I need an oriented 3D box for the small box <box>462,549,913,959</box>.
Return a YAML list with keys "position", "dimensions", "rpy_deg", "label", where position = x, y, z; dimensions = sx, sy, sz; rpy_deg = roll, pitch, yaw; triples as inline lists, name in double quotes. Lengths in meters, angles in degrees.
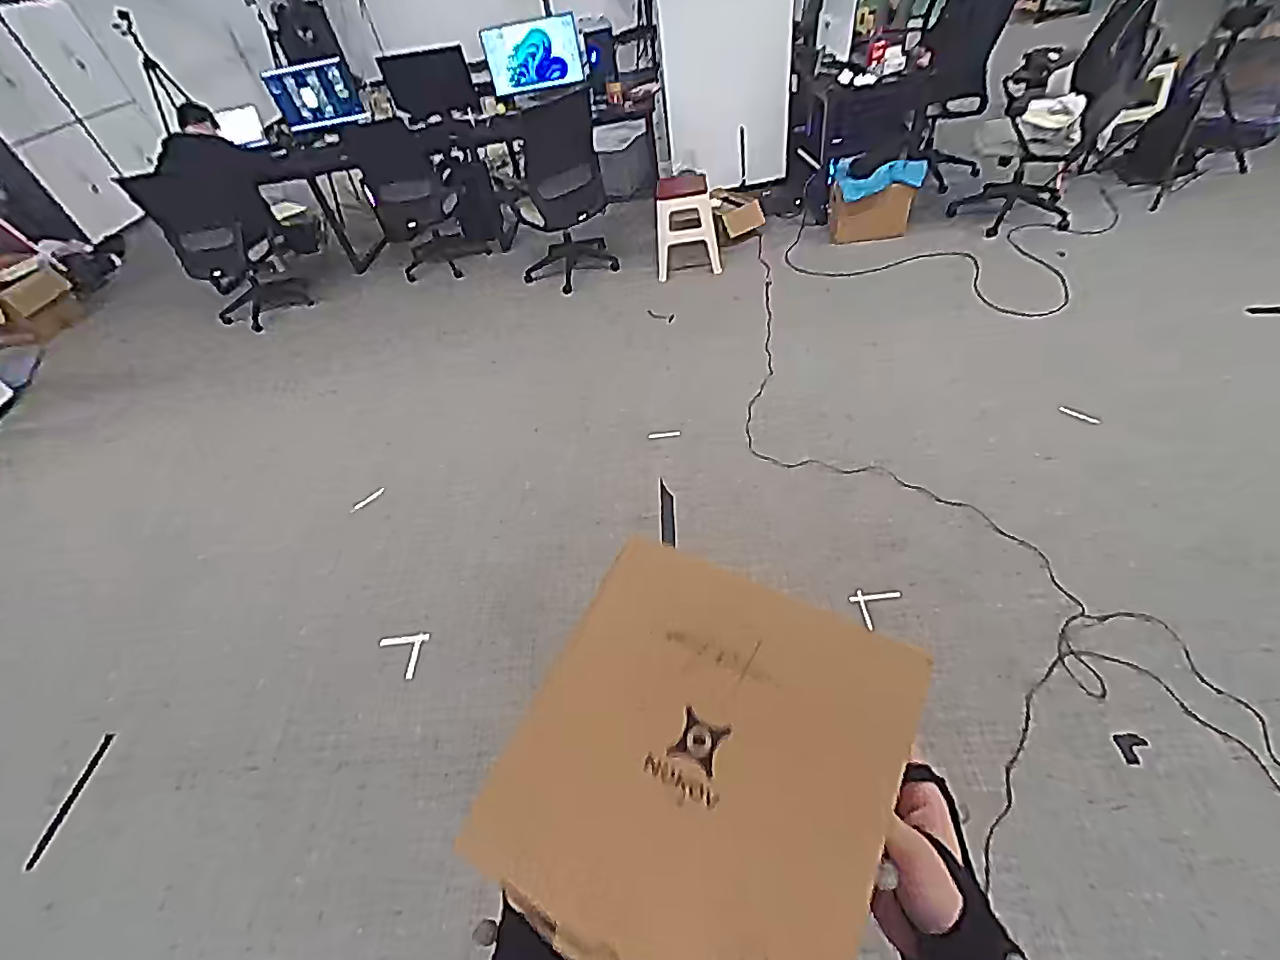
- position: [0.037, 0.176, 0.324]
  dimensions: [0.168, 0.176, 0.179]
  rpy_deg: [20, 63, 21]
  label: "small box"
